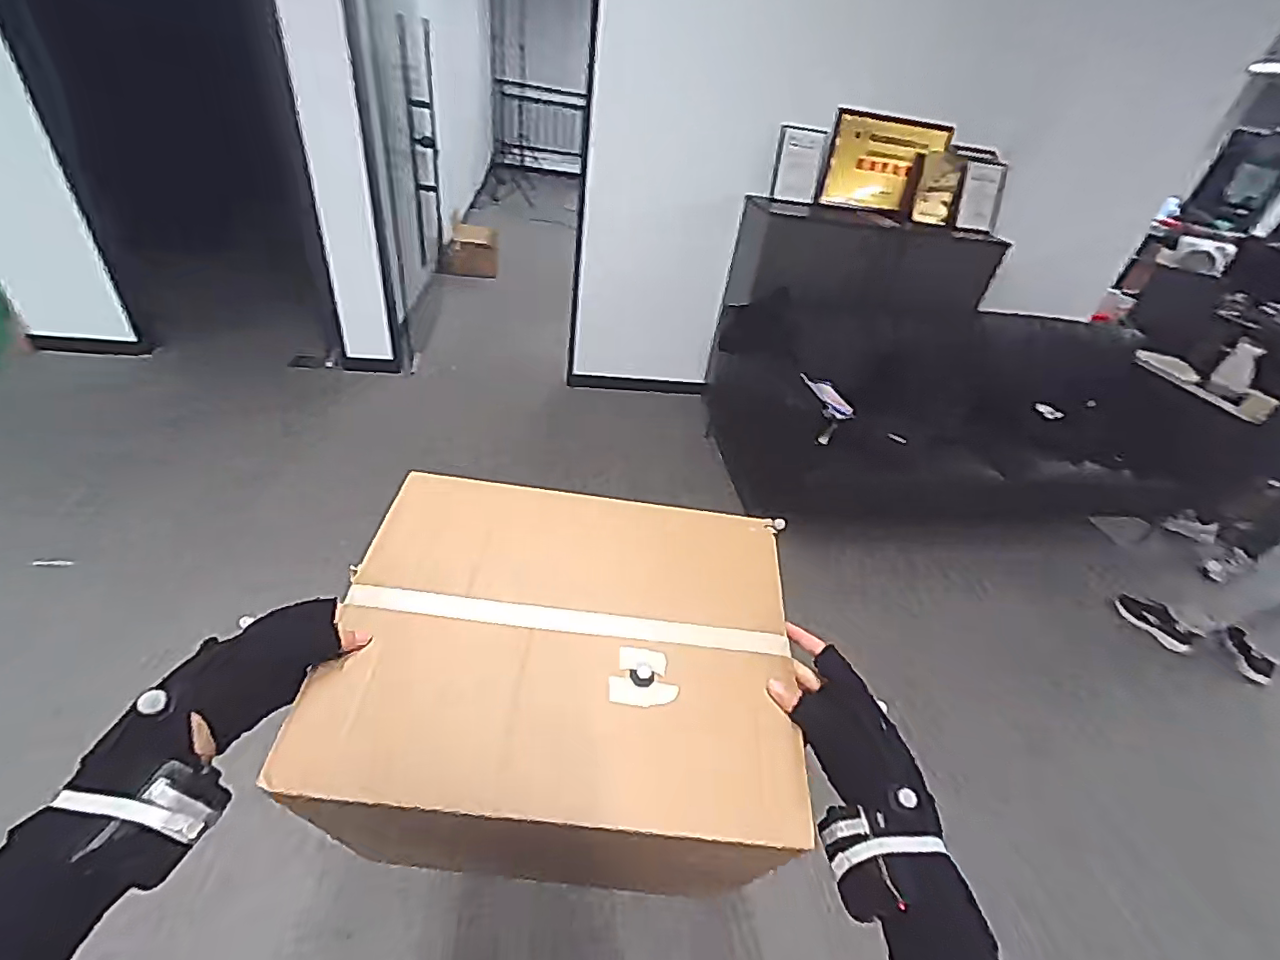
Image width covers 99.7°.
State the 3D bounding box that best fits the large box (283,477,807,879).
[{"bbox_3d":[-0.082,0.230,0.612,0.408,0.320,0.320,8,47,-4],"label":"large box"}]
